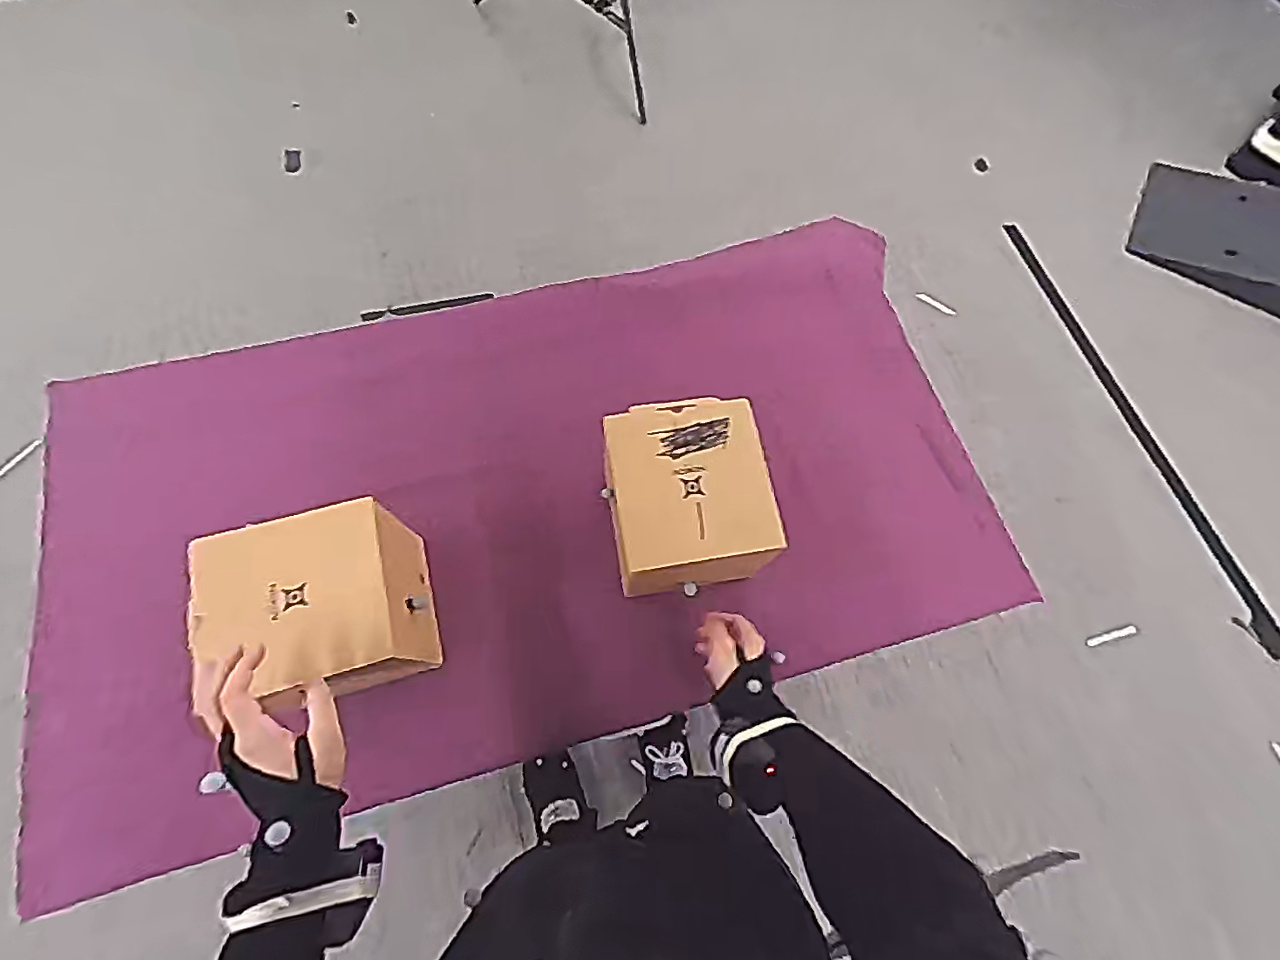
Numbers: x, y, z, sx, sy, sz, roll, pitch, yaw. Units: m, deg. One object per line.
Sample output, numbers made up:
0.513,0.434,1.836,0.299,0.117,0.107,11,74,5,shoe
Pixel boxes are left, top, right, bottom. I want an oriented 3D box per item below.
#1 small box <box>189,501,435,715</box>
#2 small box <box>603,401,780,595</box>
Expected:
-0.338,0.140,0.590,0.179,0.176,0.168,-15,71,-8,small box
0.046,0.028,0.650,0.168,0.176,0.179,-9,71,-6,small box
